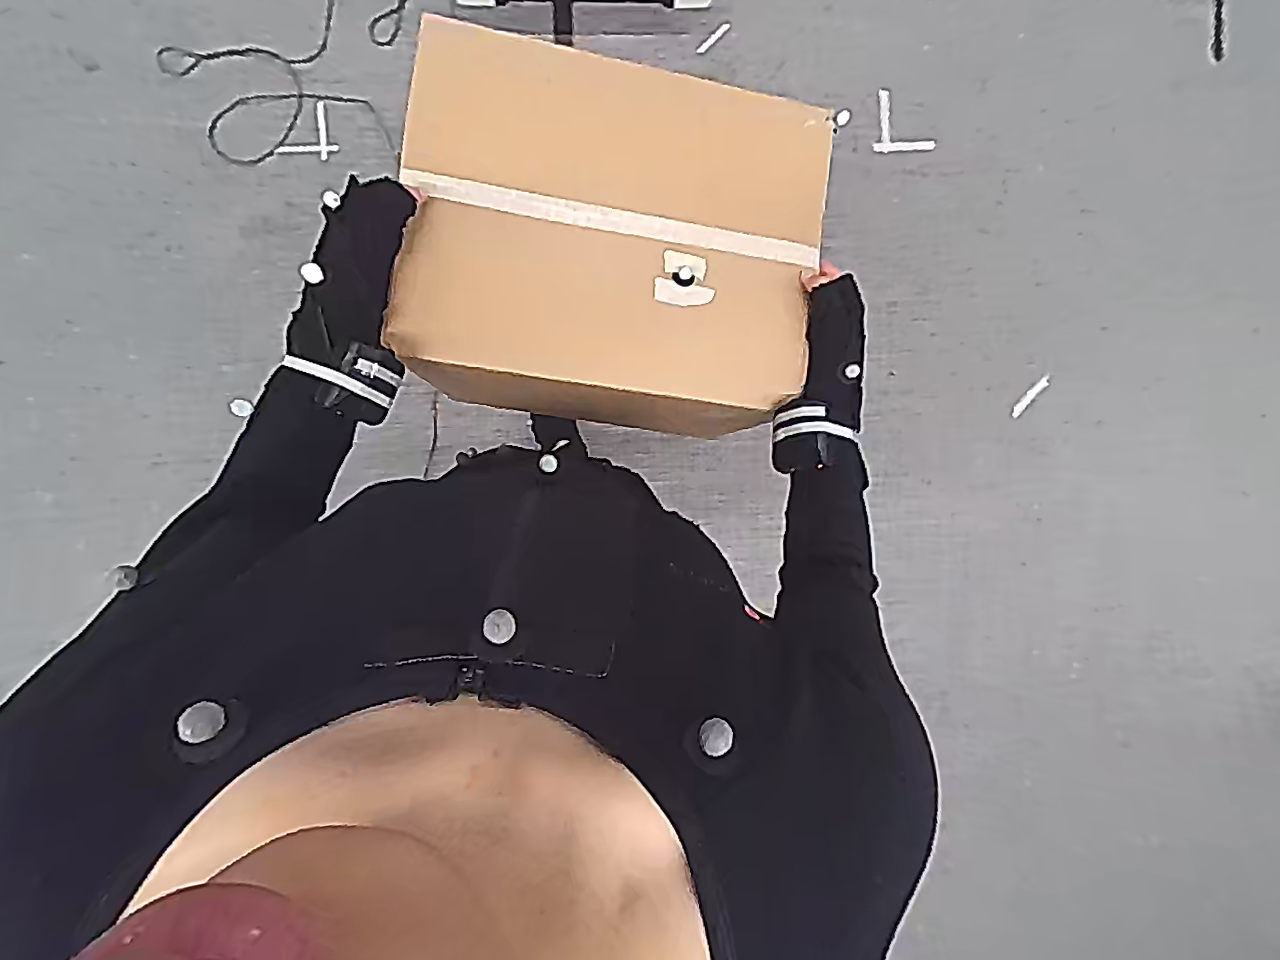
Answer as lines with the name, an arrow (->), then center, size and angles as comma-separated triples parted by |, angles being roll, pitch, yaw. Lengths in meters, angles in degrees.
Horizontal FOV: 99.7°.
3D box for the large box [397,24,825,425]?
large box -> -0.040, -0.257, 0.676 | 0.408, 0.320, 0.320 | 7, 89, -8
